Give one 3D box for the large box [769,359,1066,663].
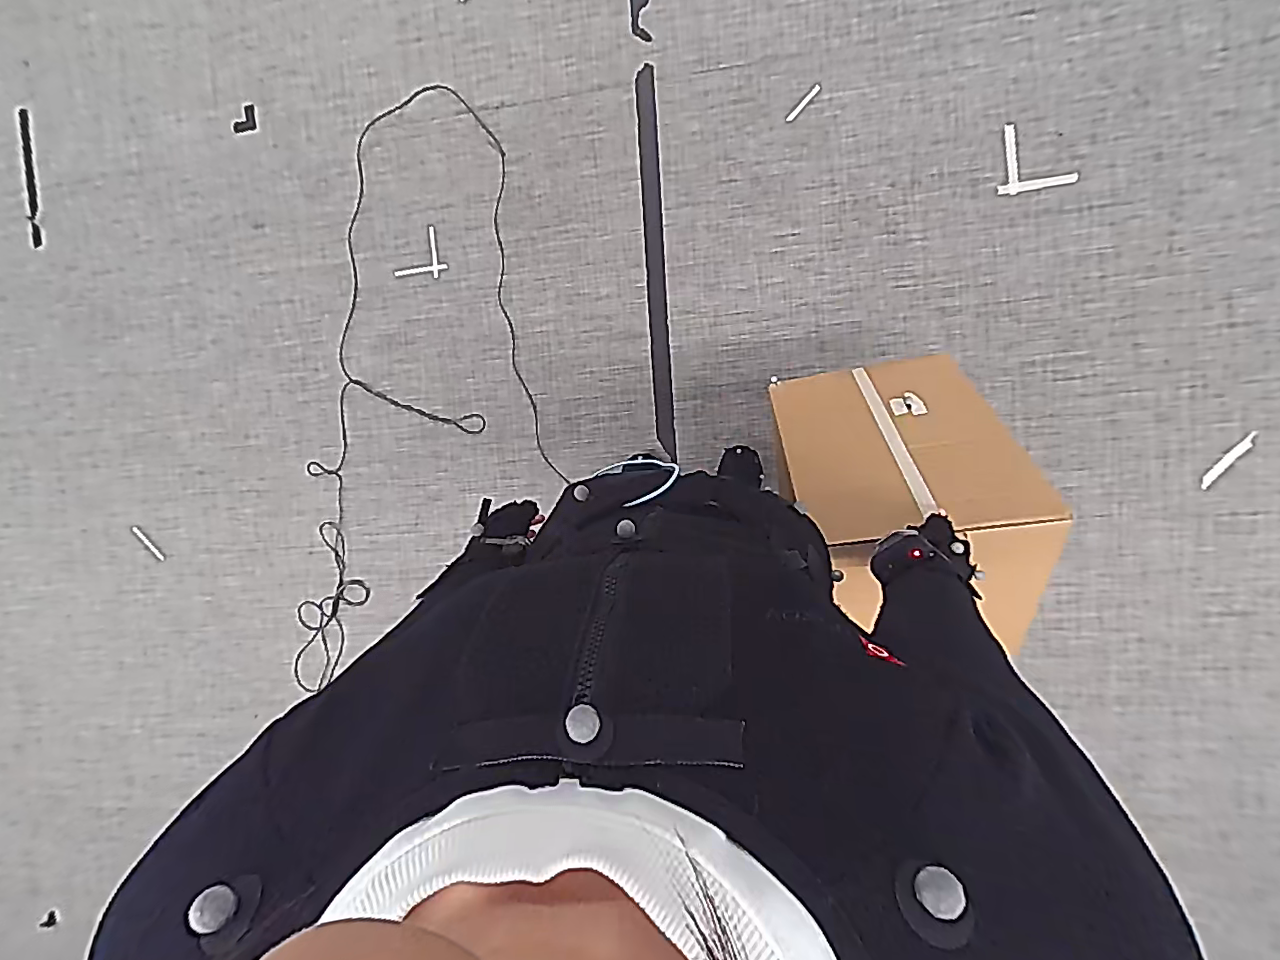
[{"bbox_3d":[0.418,0.047,0.931,0.320,0.408,0.320,-8,130,9],"label":"large box"}]
